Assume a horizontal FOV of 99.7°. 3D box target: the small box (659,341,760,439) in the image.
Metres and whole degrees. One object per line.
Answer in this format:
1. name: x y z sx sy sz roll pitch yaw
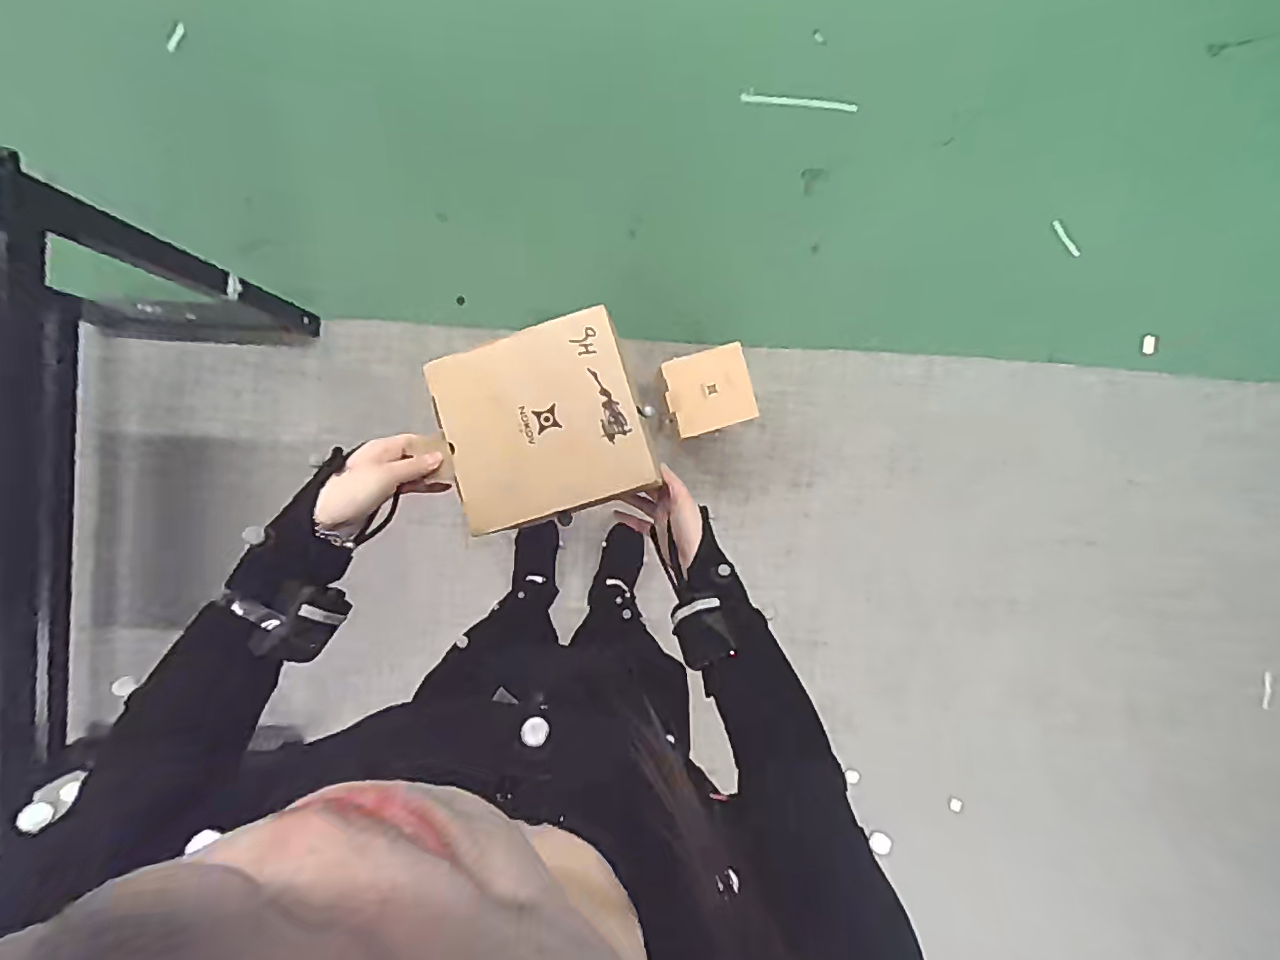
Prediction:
1. small box: 0.144 -0.191 1.197 0.179 0.176 0.168 -17 94 -2

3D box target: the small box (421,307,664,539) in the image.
1. small box: -0.082 -0.045 0.541 0.179 0.176 0.168 -16 88 5
